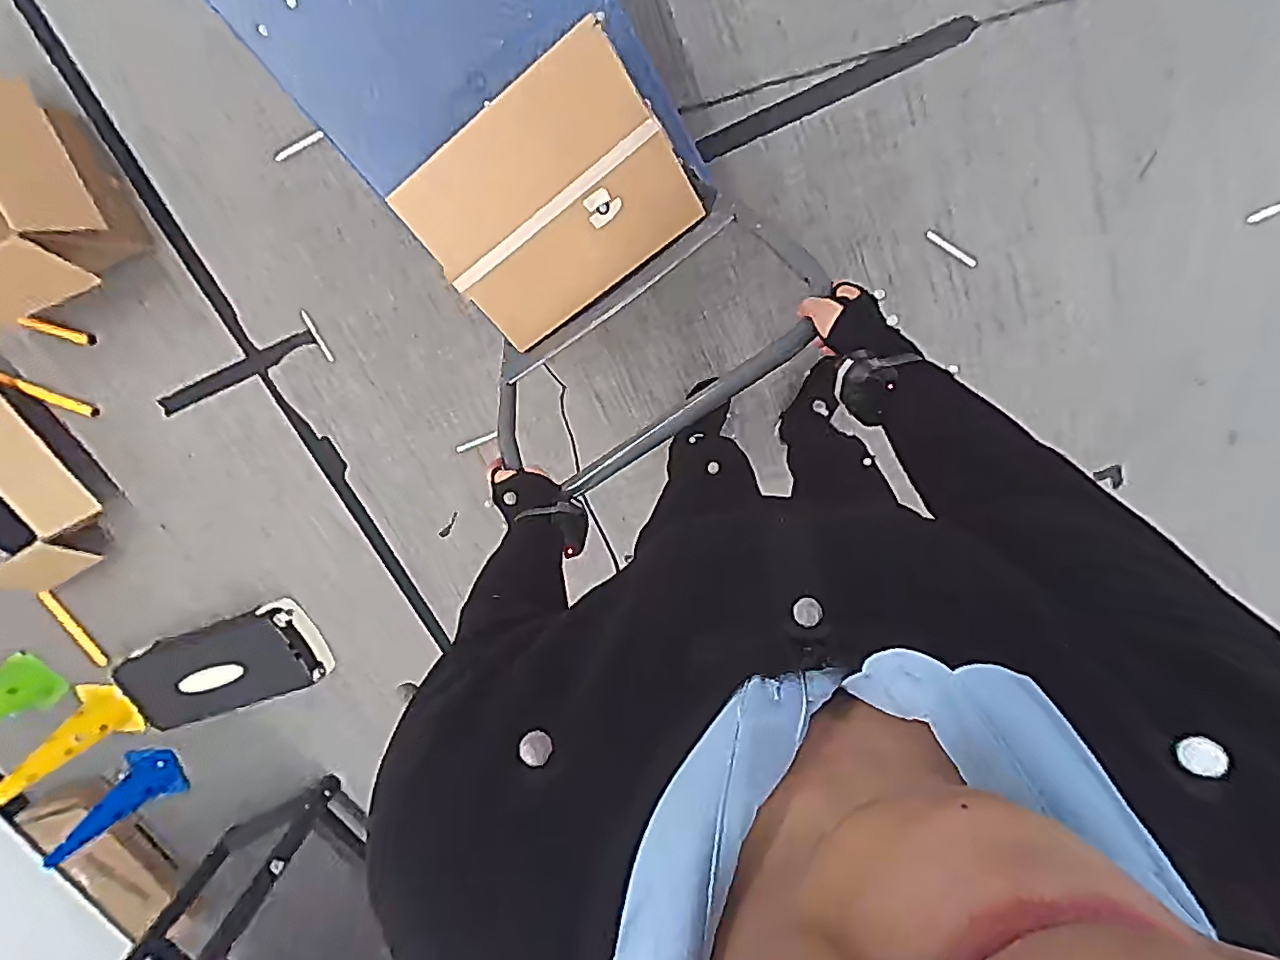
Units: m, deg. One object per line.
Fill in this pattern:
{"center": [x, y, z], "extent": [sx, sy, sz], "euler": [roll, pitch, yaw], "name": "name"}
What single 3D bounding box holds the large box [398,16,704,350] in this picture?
{"center": [-0.156, -0.520, 0.994], "extent": [0.408, 0.320, 0.320], "euler": [-34, 123, 13], "name": "large box"}
